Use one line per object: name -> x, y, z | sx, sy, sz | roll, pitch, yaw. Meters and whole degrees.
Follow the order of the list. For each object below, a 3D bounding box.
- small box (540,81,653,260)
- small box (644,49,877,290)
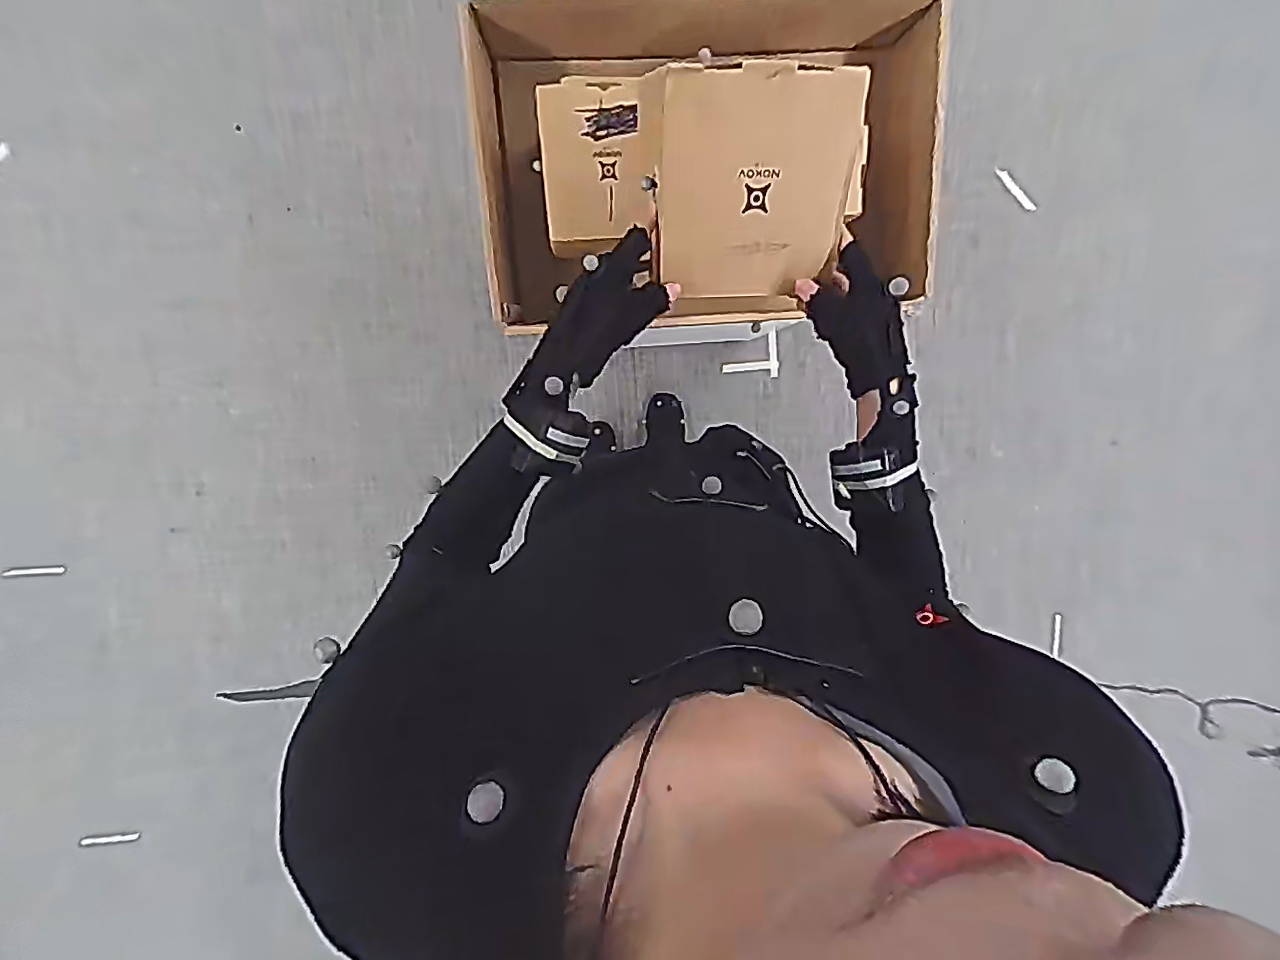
small box -> -0.044, -0.412, 0.747 | 0.168, 0.176, 0.179 | -5, 105, -4
small box -> 0.095, -0.295, 0.522 | 0.168, 0.176, 0.179 | -4, 124, -5
